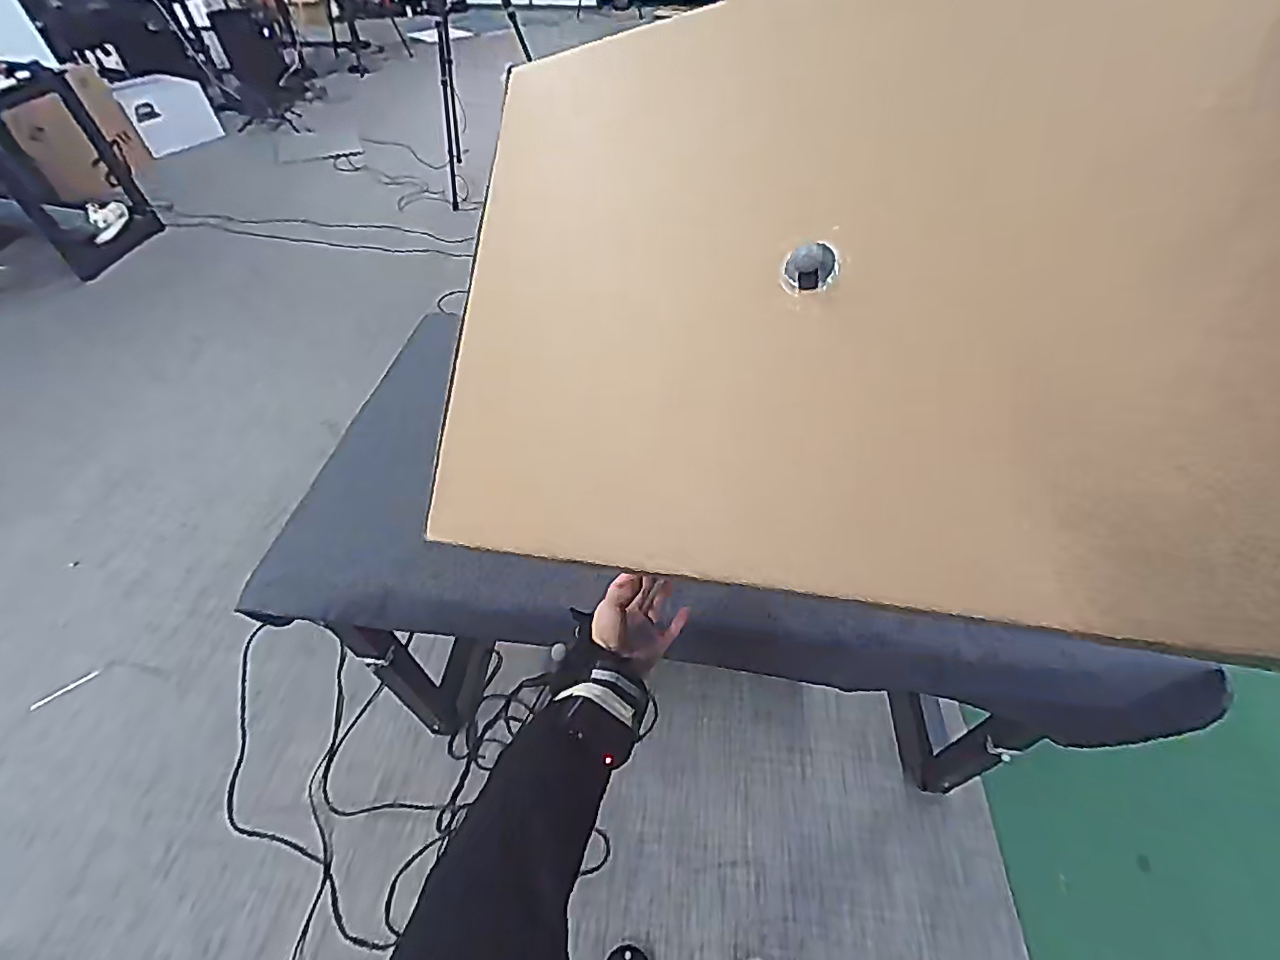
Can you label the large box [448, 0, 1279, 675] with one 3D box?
[{"bbox_3d":[0.139,-0.067,0.389,0.408,0.320,0.320,2,80,23],"label":"large box"}]
